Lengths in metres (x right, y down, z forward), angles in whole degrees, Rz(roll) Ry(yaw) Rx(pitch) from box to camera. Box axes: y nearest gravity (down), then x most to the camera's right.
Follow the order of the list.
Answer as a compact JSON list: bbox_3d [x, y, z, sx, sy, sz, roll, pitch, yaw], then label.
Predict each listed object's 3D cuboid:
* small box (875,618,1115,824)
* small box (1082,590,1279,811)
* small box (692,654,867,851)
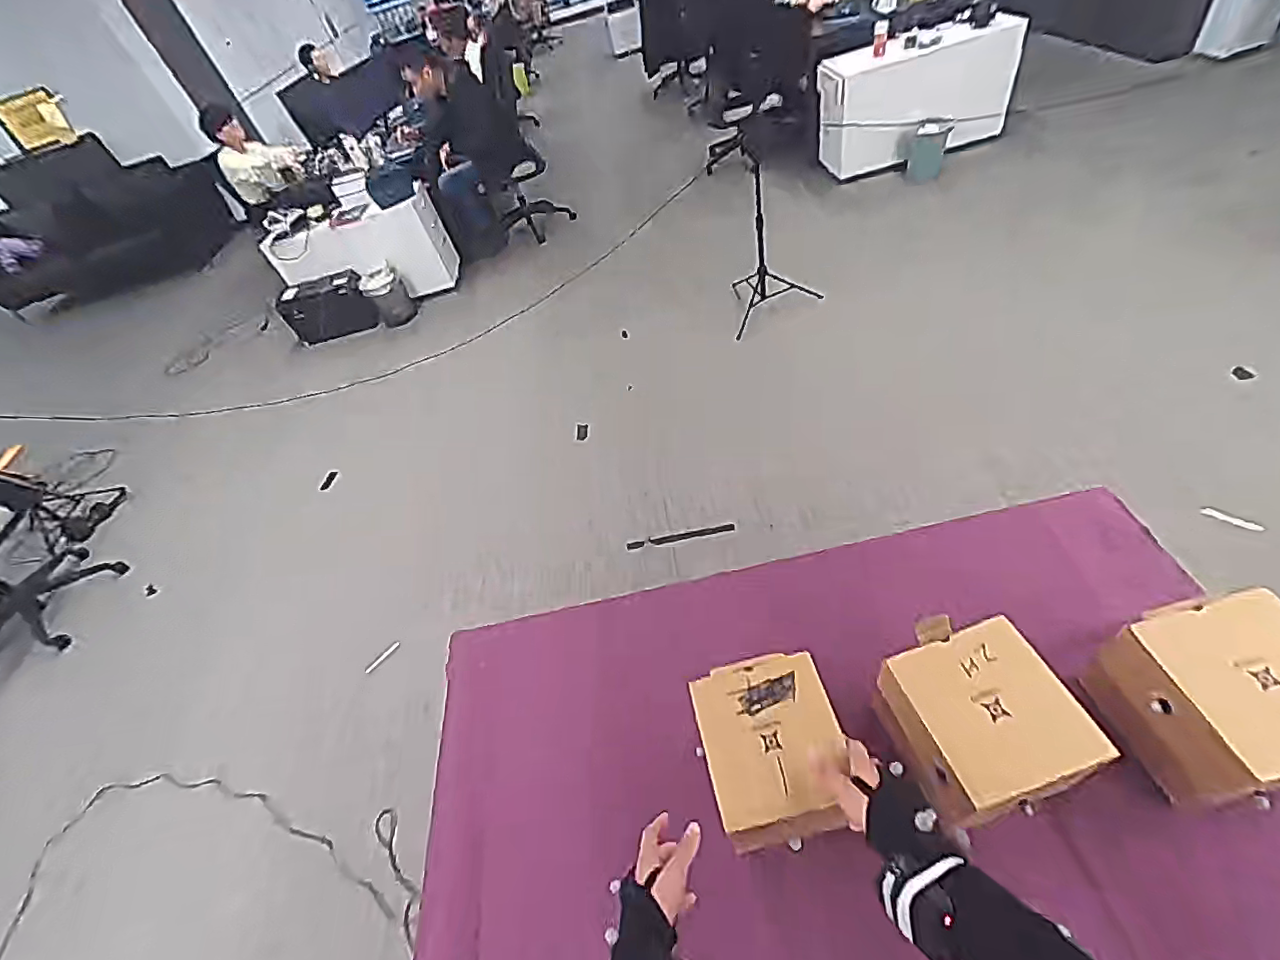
[{"bbox_3d":[0.424,0.311,0.685,0.168,0.176,0.179,-20,47,-2],"label":"small box"},{"bbox_3d":[0.689,0.265,0.646,0.168,0.176,0.179,-17,46,3],"label":"small box"},{"bbox_3d":[0.176,0.362,0.715,0.168,0.176,0.179,-16,48,3],"label":"small box"}]
